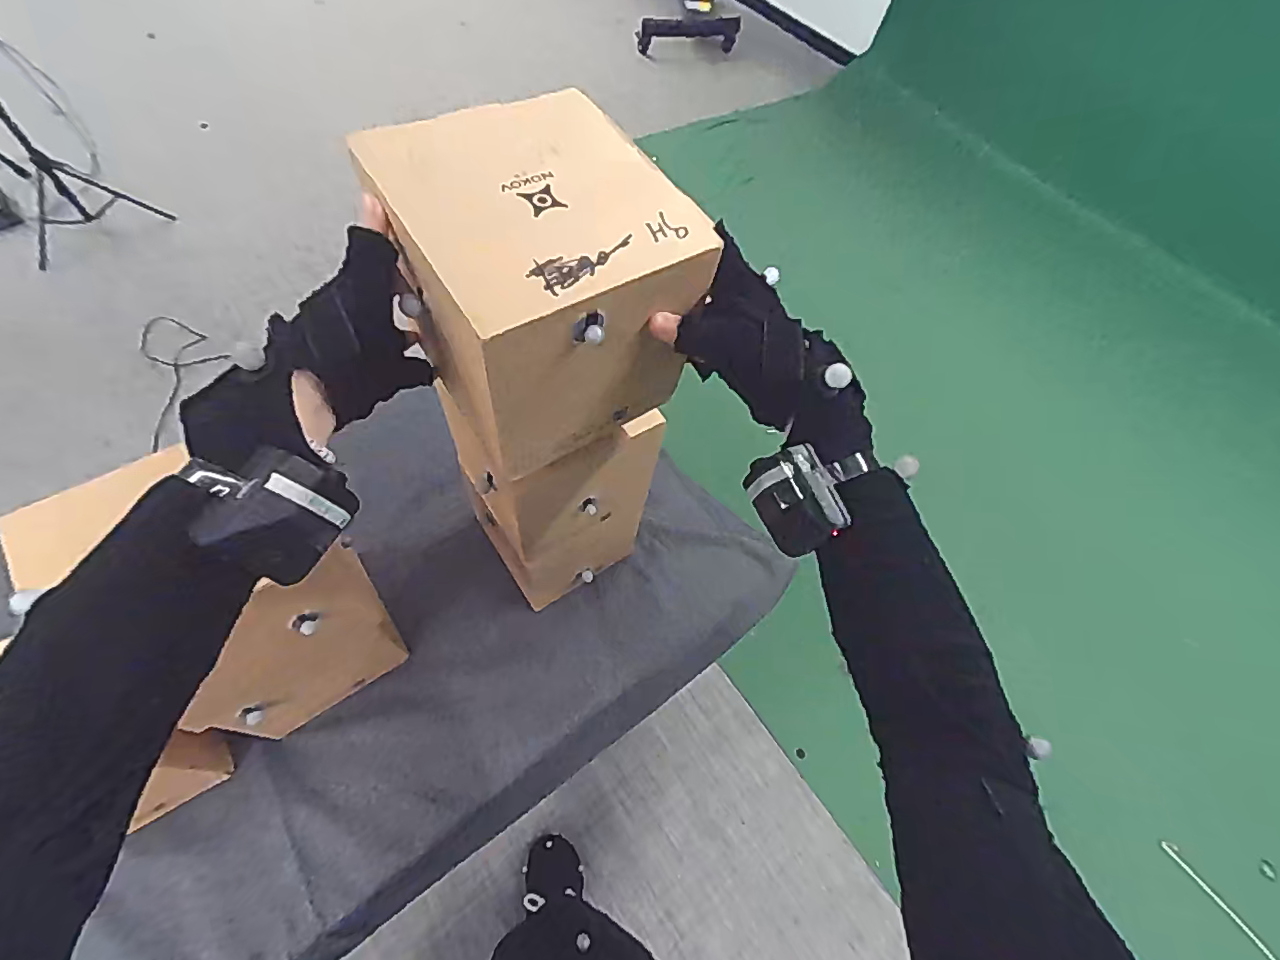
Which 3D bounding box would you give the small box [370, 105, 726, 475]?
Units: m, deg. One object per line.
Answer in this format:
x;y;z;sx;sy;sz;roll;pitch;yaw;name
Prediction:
-0.069;-0.136;0.408;0.168;0.176;0.179;-29;70;-21;small box

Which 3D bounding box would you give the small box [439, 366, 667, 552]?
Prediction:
-0.092;-0.041;0.595;0.168;0.176;0.179;-27;66;-21;small box

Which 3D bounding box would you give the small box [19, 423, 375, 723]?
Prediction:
-0.365;0.087;0.485;0.179;0.176;0.168;-32;67;-23;small box
